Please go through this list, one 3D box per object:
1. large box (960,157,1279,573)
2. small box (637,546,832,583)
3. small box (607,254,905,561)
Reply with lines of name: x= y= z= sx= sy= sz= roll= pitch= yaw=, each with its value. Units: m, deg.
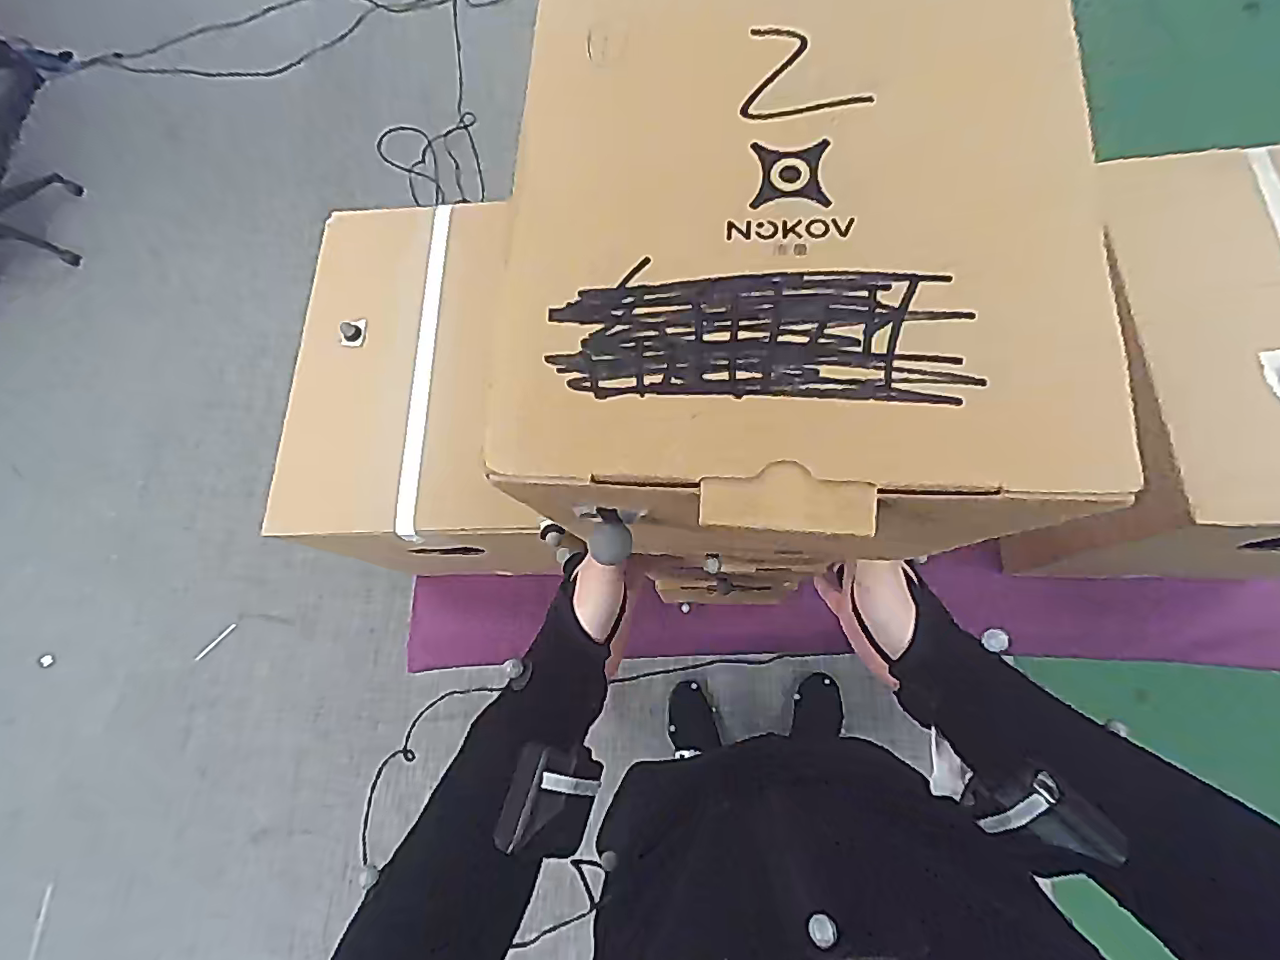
large box: x=0.646 y=-0.107 z=0.655 sx=0.320 sy=0.320 sz=0.408 roll=-1 pitch=73 yaw=6
small box: x=0.089 y=0.009 z=0.550 sx=0.168 sy=0.176 sz=0.179 roll=0 pitch=77 yaw=7
small box: x=0.071 y=-0.036 z=0.395 sx=0.168 sy=0.176 sz=0.179 roll=0 pitch=77 yaw=6
